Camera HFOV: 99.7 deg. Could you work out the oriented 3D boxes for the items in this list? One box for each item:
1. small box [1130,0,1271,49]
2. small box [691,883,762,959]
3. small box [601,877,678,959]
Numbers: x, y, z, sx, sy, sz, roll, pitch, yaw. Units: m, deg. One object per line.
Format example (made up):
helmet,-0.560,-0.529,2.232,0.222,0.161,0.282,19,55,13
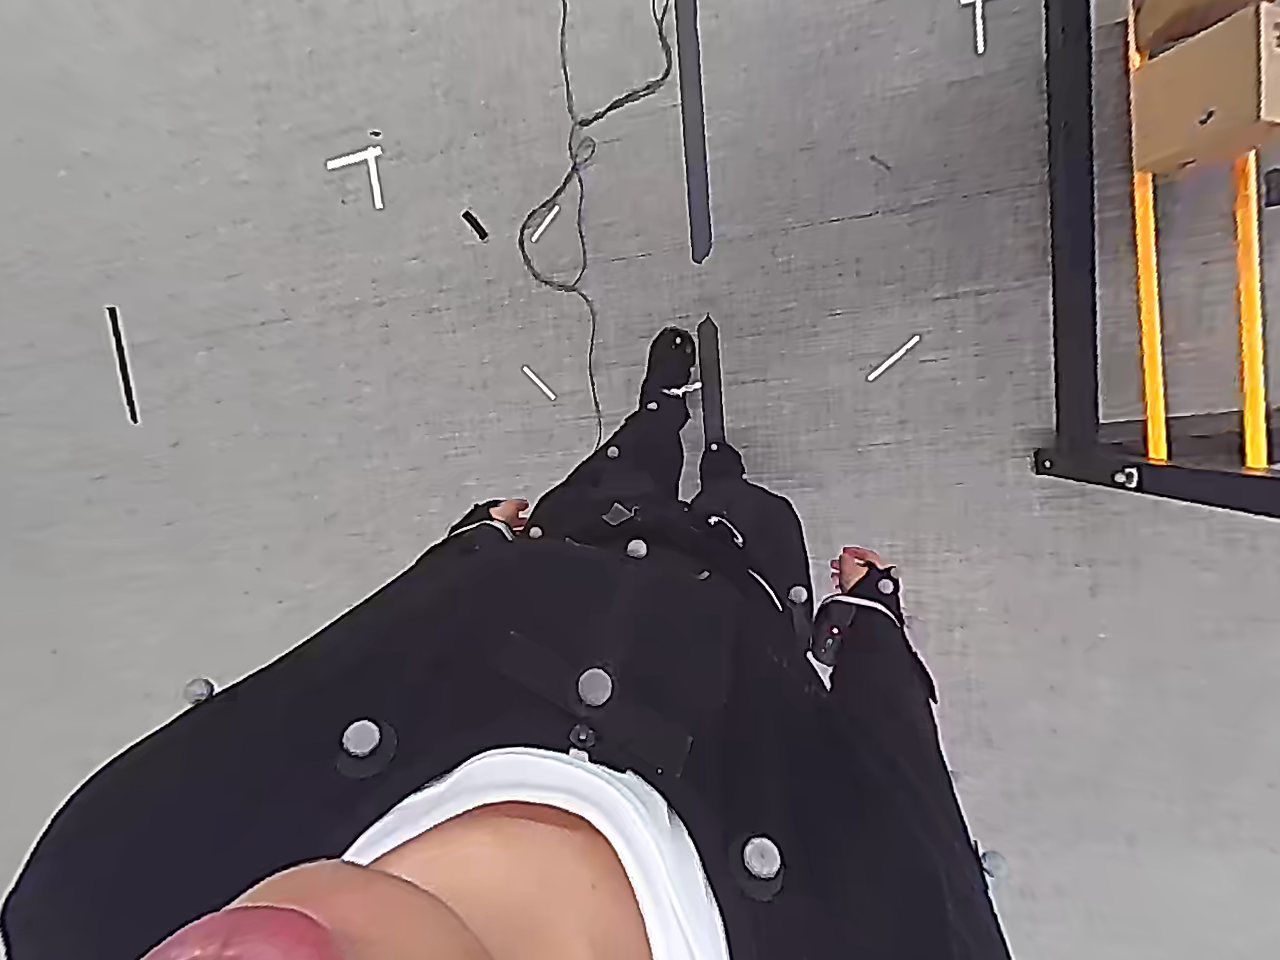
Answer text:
small box,0.951,-0.858,0.878,0.179,0.176,0.168,-7,94,14
small box,0.224,1.183,1.376,0.168,0.176,0.179,-2,95,13
small box,0.005,1.205,1.431,0.168,0.176,0.179,-4,95,13
